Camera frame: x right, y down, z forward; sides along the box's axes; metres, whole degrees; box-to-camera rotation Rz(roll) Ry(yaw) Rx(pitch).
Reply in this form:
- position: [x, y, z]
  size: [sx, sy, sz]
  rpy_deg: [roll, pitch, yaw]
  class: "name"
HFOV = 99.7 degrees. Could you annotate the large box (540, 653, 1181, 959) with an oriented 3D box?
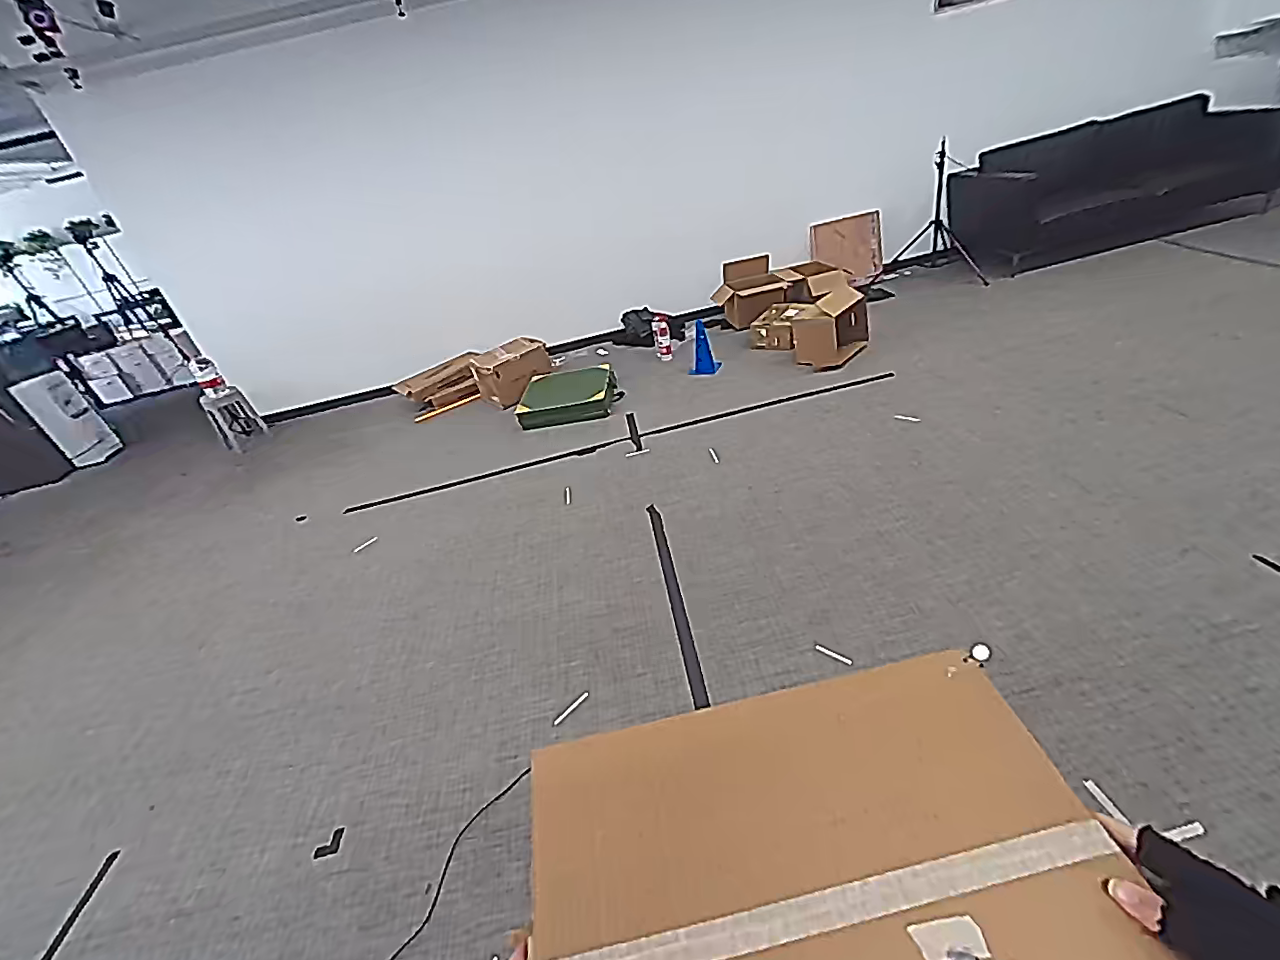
- position: [0.148, 0.412, 0.473]
  size: [0.408, 0.320, 0.320]
  rpy_deg: [-12, 40, -3]
  class: "large box"
